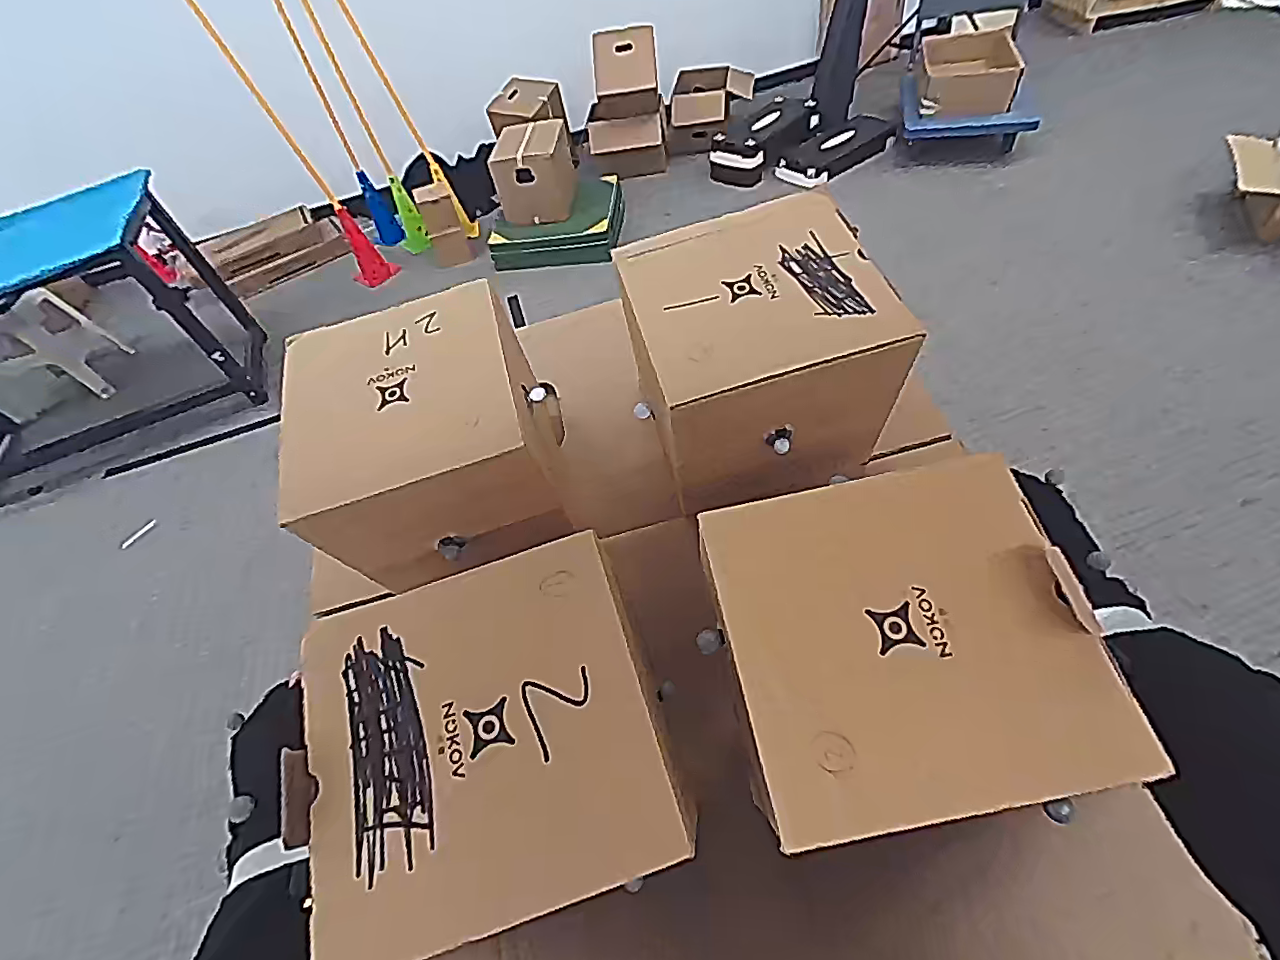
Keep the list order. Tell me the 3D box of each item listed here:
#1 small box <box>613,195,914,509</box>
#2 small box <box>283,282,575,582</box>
[{"bbox_3d":[0.090,-0.097,0.460,0.179,0.176,0.168,-16,60,1],"label":"small box"},{"bbox_3d":[-0.164,-0.027,0.462,0.168,0.176,0.179,-17,59,-1],"label":"small box"}]
